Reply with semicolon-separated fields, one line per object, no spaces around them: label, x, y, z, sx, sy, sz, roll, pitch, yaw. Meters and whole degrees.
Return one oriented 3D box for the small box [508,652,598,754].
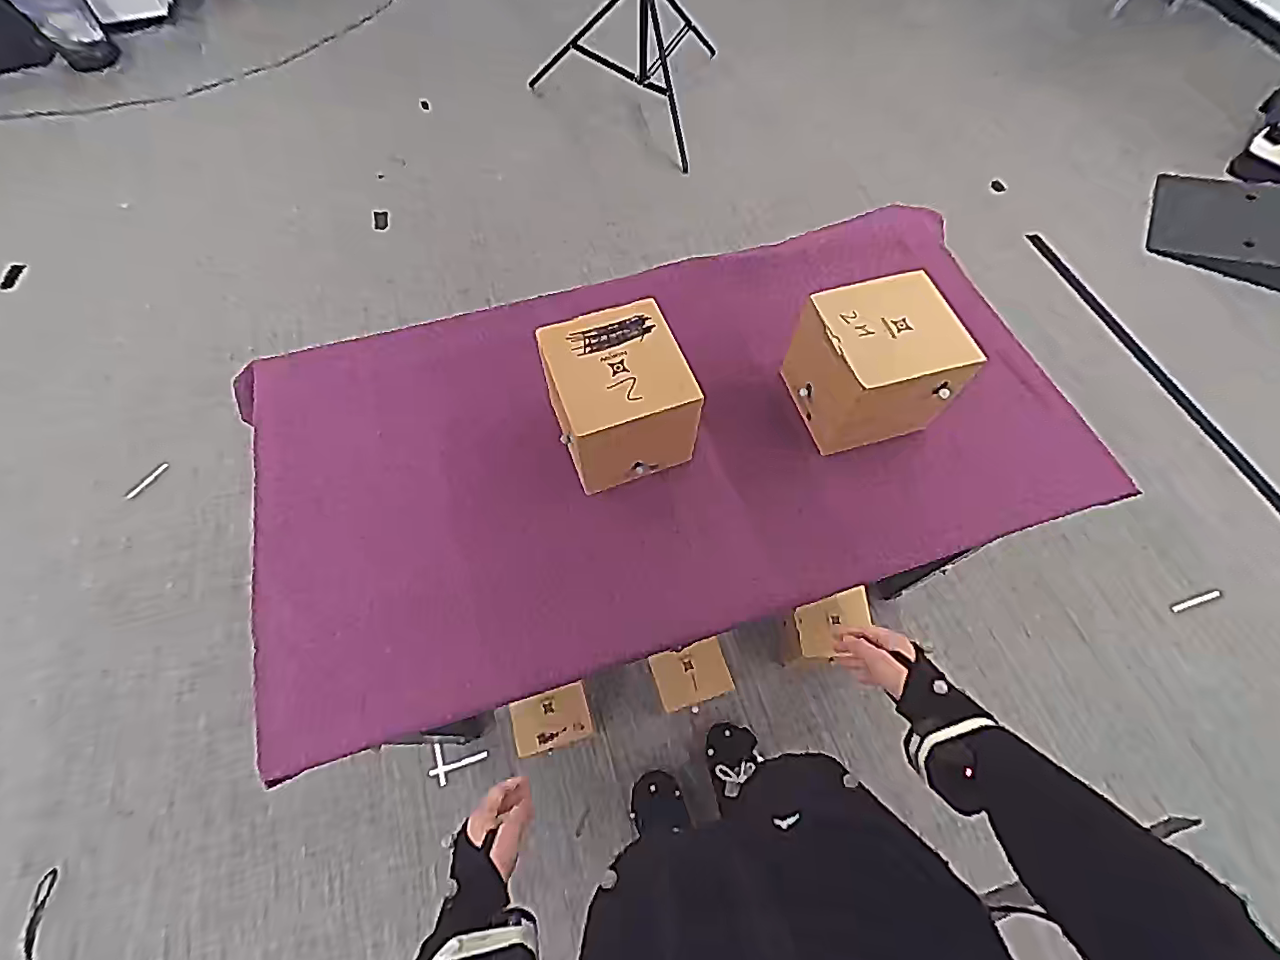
small box;-0.197;0.519;1.249;0.168;0.176;0.179;-14;64;-7

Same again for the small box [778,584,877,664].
small box;0.451;0.356;1.330;0.179;0.176;0.168;-1;64;0

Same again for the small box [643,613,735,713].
small box;0.107;0.439;1.288;0.168;0.176;0.179;-17;66;-8

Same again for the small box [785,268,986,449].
small box;0.332;-0.166;0.772;0.179;0.176;0.168;-14;64;-6
